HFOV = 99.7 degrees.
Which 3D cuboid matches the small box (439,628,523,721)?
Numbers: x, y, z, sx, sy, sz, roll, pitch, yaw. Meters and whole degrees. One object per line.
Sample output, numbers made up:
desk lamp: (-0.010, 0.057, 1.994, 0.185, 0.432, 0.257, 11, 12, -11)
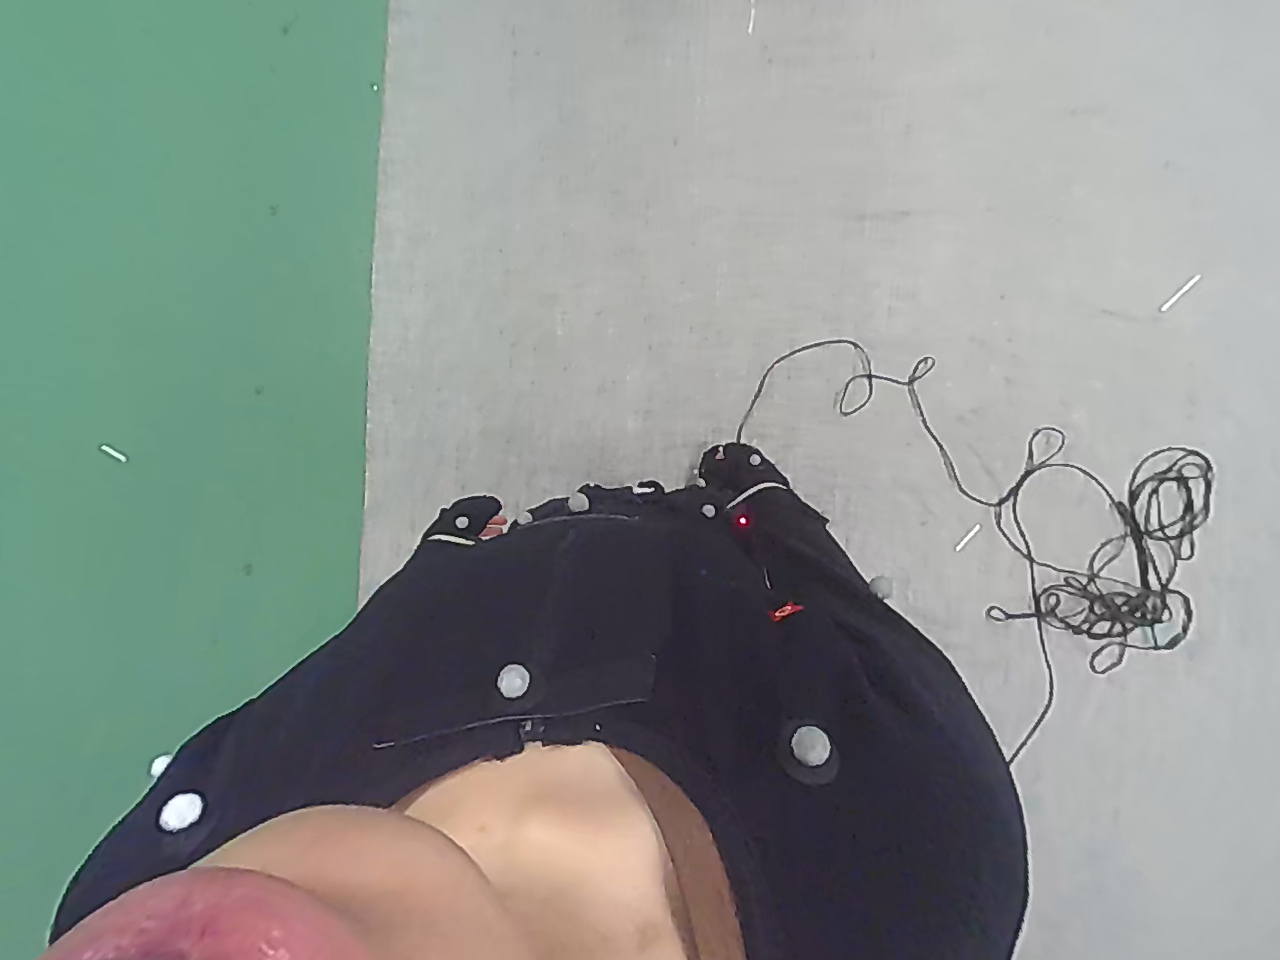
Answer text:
small box: (-0.409, 0.502, 1.413, 0.168, 0.176, 0.179, 4, 90, 0)
